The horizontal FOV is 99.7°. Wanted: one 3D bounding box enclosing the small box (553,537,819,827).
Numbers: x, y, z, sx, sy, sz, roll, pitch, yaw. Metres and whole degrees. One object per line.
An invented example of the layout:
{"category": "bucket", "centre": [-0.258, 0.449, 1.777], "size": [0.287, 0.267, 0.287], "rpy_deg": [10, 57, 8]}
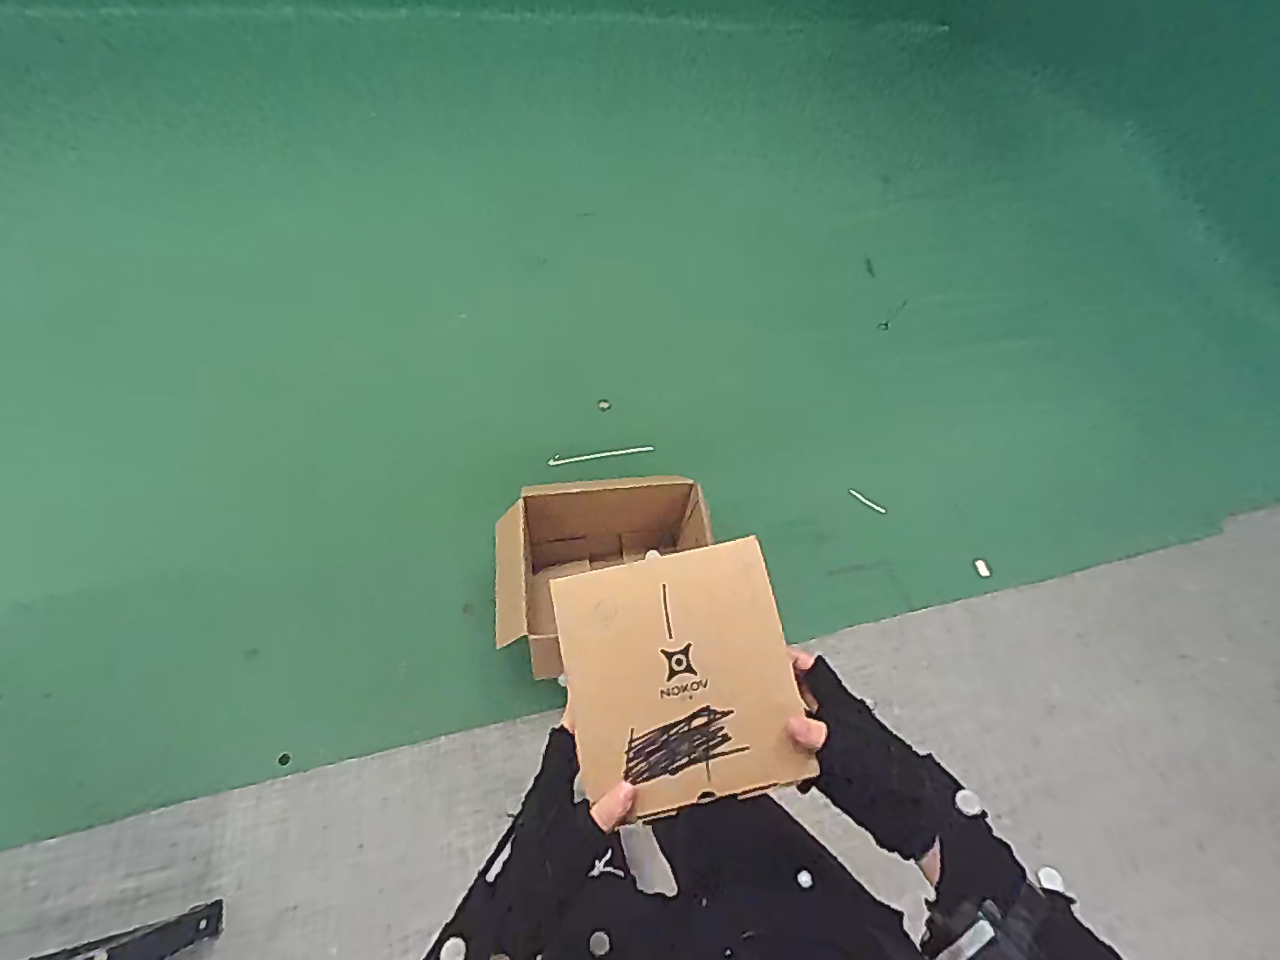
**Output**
{"category": "small box", "centre": [0.029, 0.159, 0.470], "size": [0.168, 0.176, 0.179], "rpy_deg": [-12, 76, -5]}
